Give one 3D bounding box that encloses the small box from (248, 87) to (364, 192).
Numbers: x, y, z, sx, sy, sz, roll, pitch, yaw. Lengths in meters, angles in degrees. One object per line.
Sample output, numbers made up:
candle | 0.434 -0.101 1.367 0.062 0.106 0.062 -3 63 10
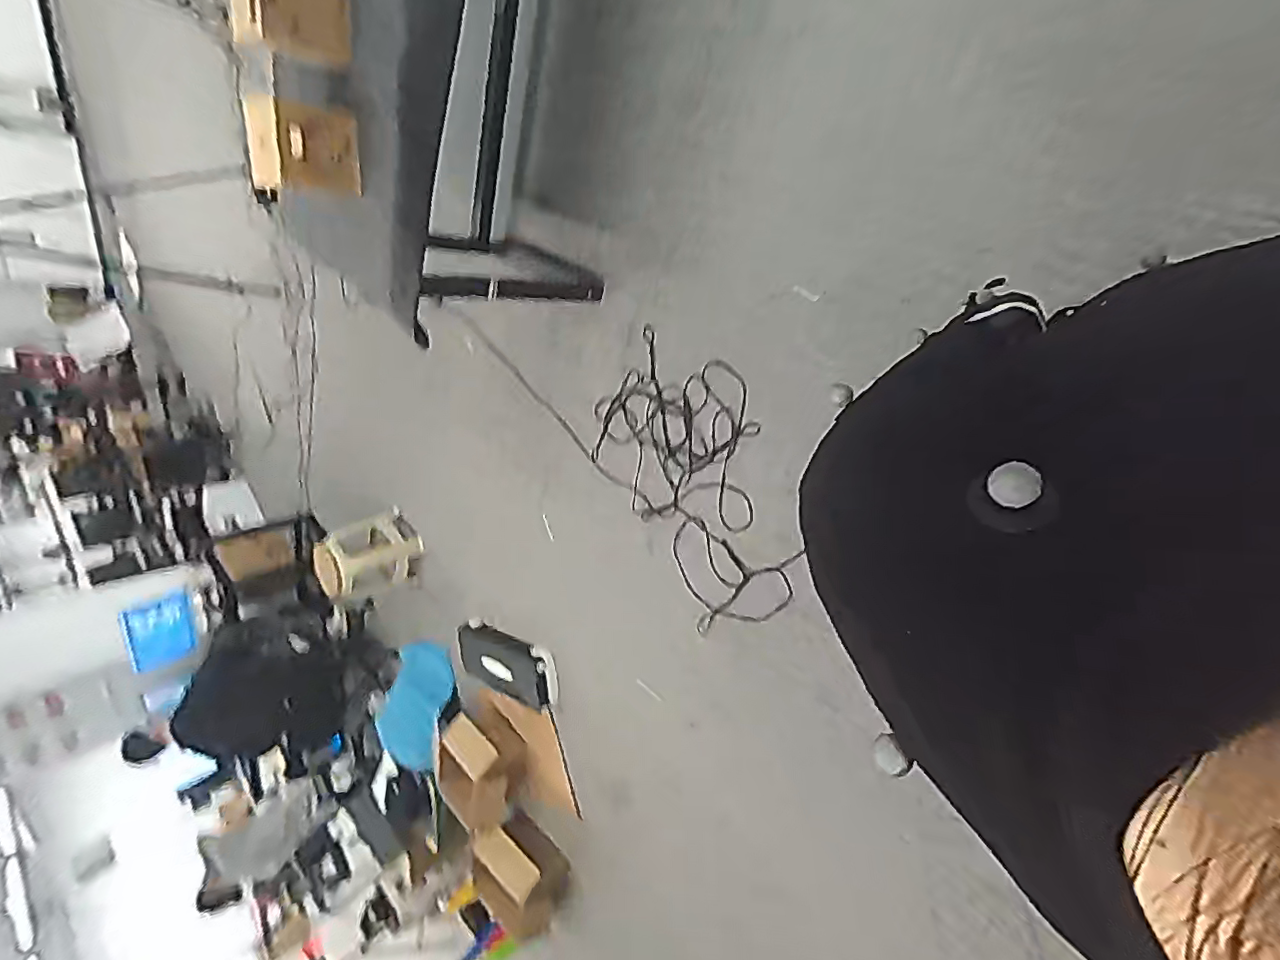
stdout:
small box | -0.742 -0.750 1.208 0.179 0.176 0.168 23 117 35
